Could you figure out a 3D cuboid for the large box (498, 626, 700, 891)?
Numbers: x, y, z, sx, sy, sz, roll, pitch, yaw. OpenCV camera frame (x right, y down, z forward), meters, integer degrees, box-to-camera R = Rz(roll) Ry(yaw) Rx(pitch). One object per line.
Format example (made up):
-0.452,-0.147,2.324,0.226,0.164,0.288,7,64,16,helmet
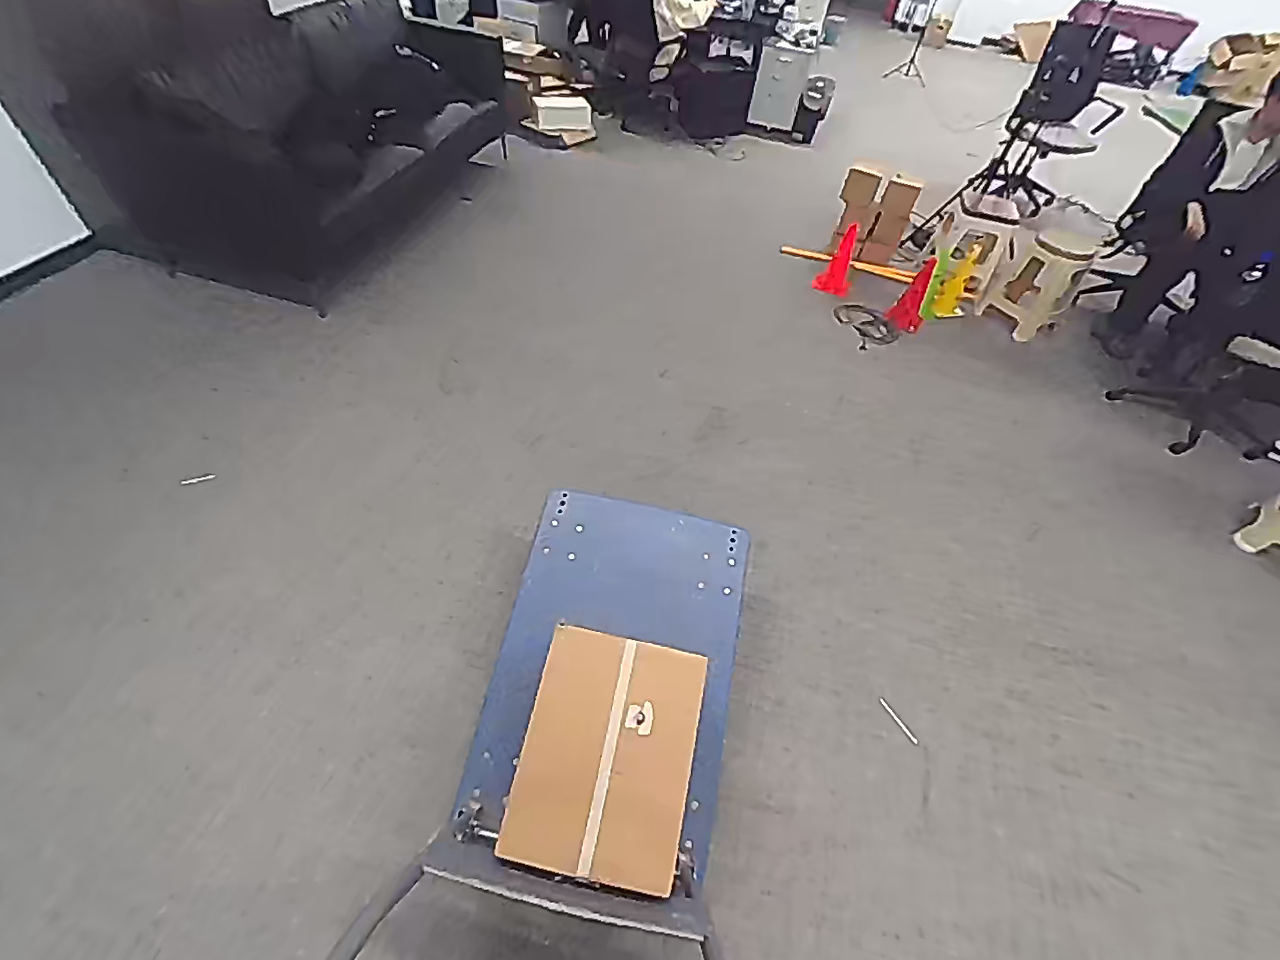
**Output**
-0.070,0.562,1.142,0.320,0.320,0.408,12,66,1,large box
